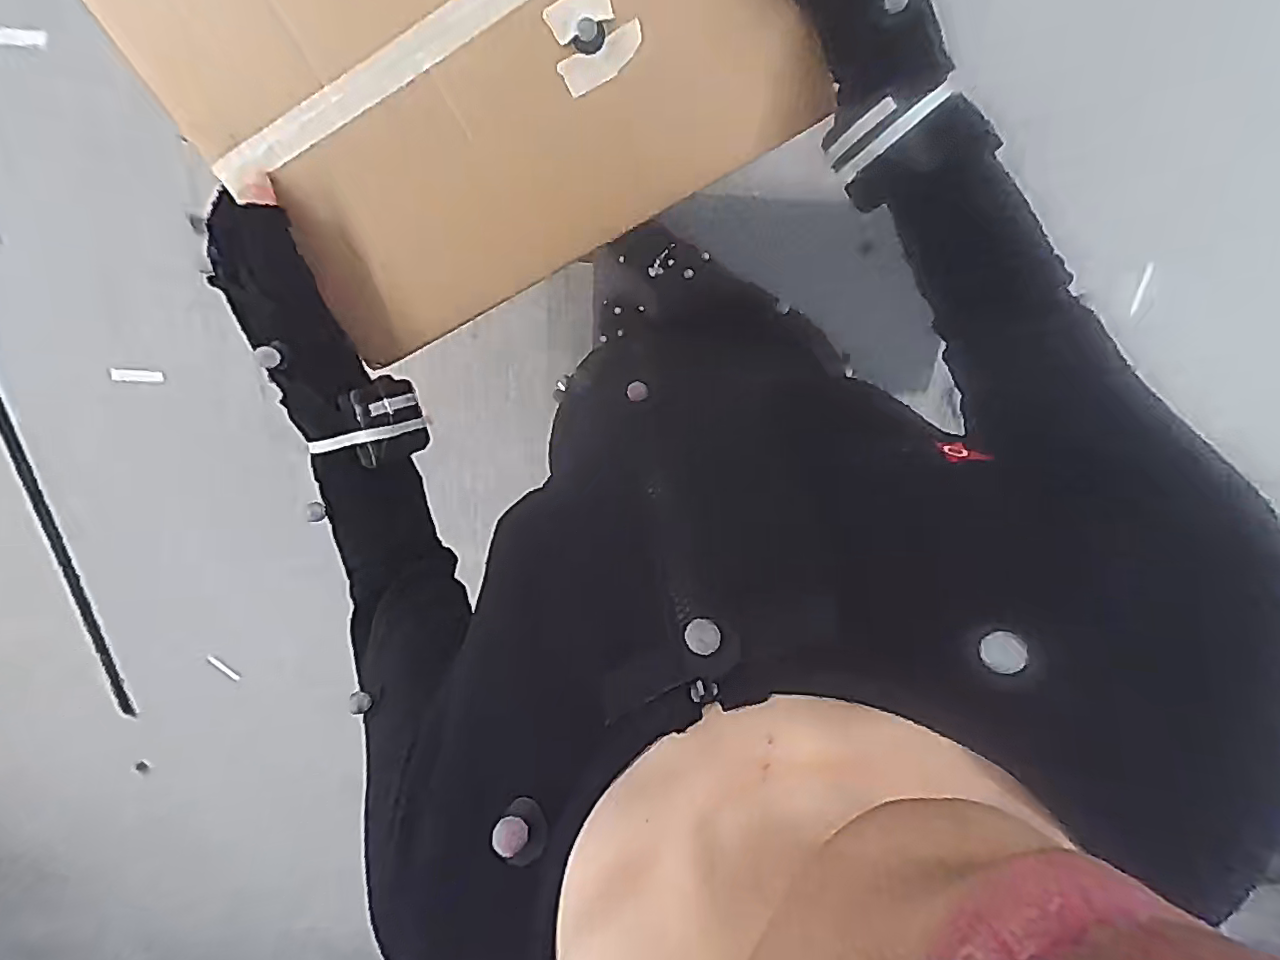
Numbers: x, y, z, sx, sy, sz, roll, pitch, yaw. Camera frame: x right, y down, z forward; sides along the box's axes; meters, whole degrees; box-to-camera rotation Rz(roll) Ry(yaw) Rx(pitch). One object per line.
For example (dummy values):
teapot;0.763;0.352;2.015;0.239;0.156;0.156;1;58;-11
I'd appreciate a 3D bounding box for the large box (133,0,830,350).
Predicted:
large box;-0.112;-0.374;0.493;0.408;0.320;0.320;-25;116;8

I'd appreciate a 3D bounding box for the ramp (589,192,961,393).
ramp;0.362;-0.481;1.436;0.991;0.206;0.509;0;112;-1
